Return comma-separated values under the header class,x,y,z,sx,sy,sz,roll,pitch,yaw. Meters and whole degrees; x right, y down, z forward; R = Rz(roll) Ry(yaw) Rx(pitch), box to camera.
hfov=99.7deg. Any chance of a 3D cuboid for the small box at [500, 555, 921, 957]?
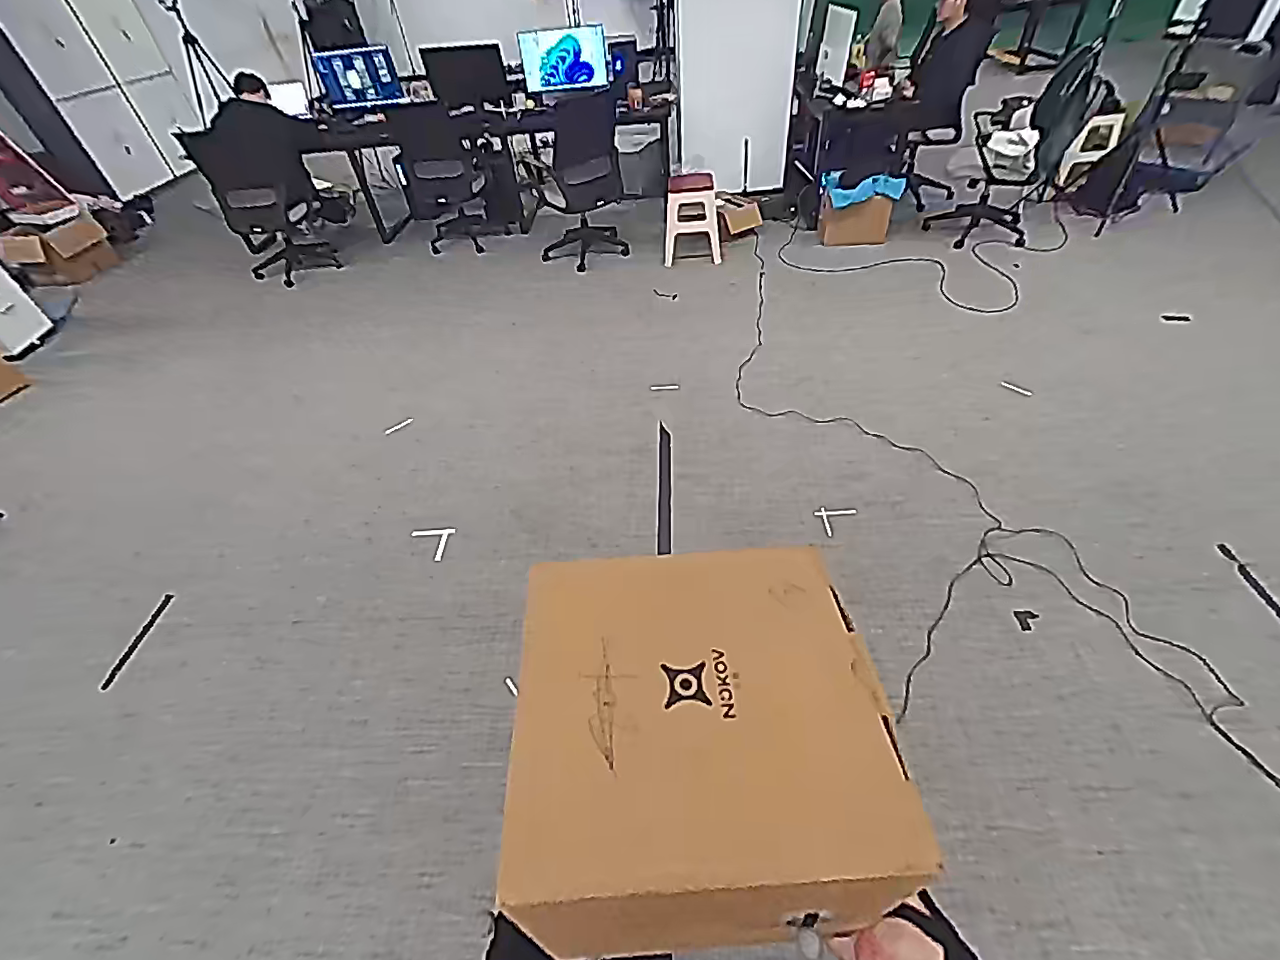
class,x,y,z,sx,sy,sz,roll,pitch,yaw
small box,0.029,0.167,0.330,0.179,0.176,0.168,-5,42,-1
